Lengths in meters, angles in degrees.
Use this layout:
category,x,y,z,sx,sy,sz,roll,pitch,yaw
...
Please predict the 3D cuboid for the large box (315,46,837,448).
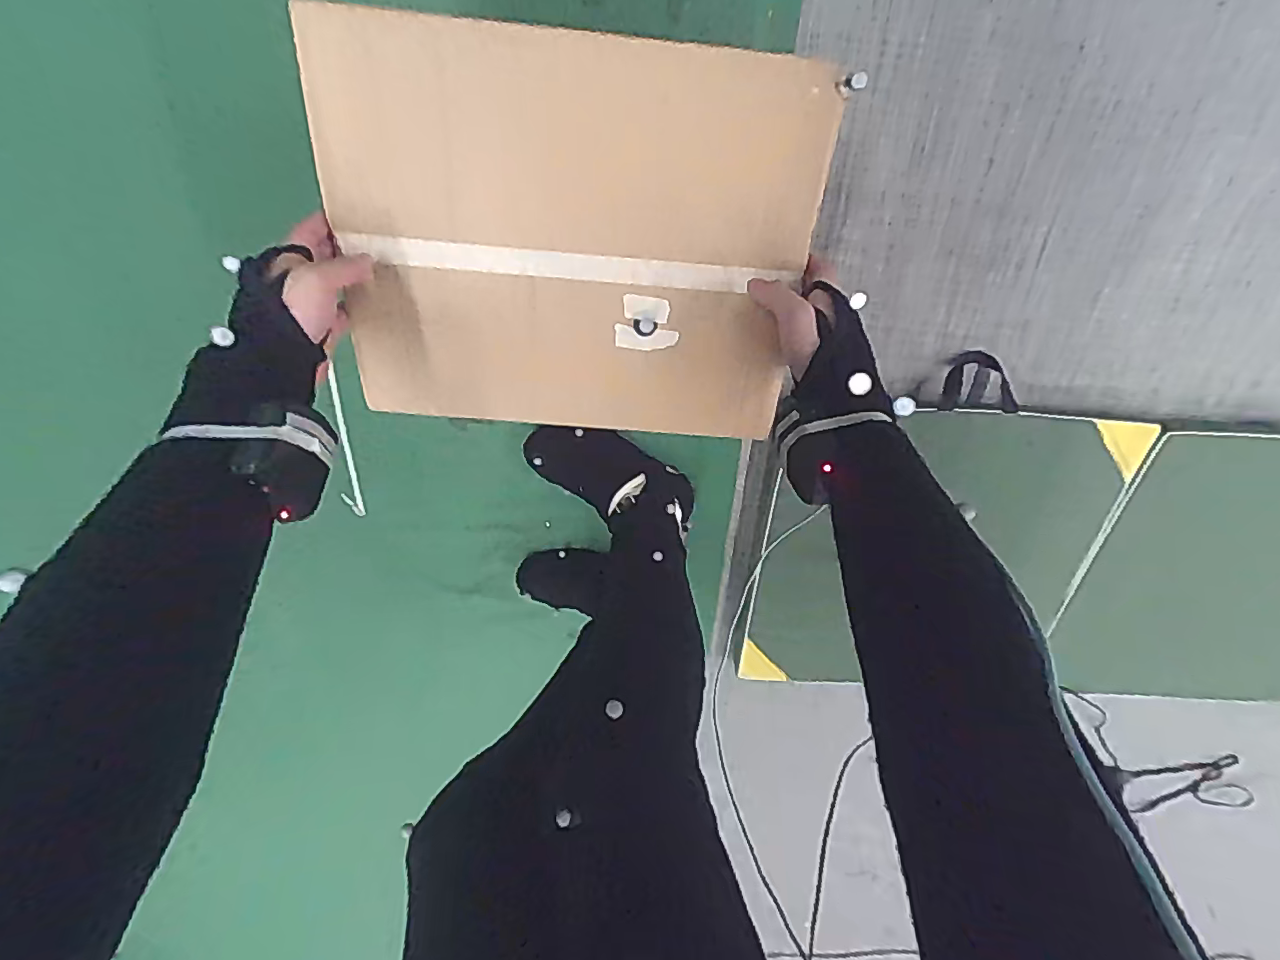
category,x,y,z,sx,sy,sz,roll,pitch,yaw
large box,-0.060,-0.249,0.609,0.408,0.320,0.320,4,121,-4
